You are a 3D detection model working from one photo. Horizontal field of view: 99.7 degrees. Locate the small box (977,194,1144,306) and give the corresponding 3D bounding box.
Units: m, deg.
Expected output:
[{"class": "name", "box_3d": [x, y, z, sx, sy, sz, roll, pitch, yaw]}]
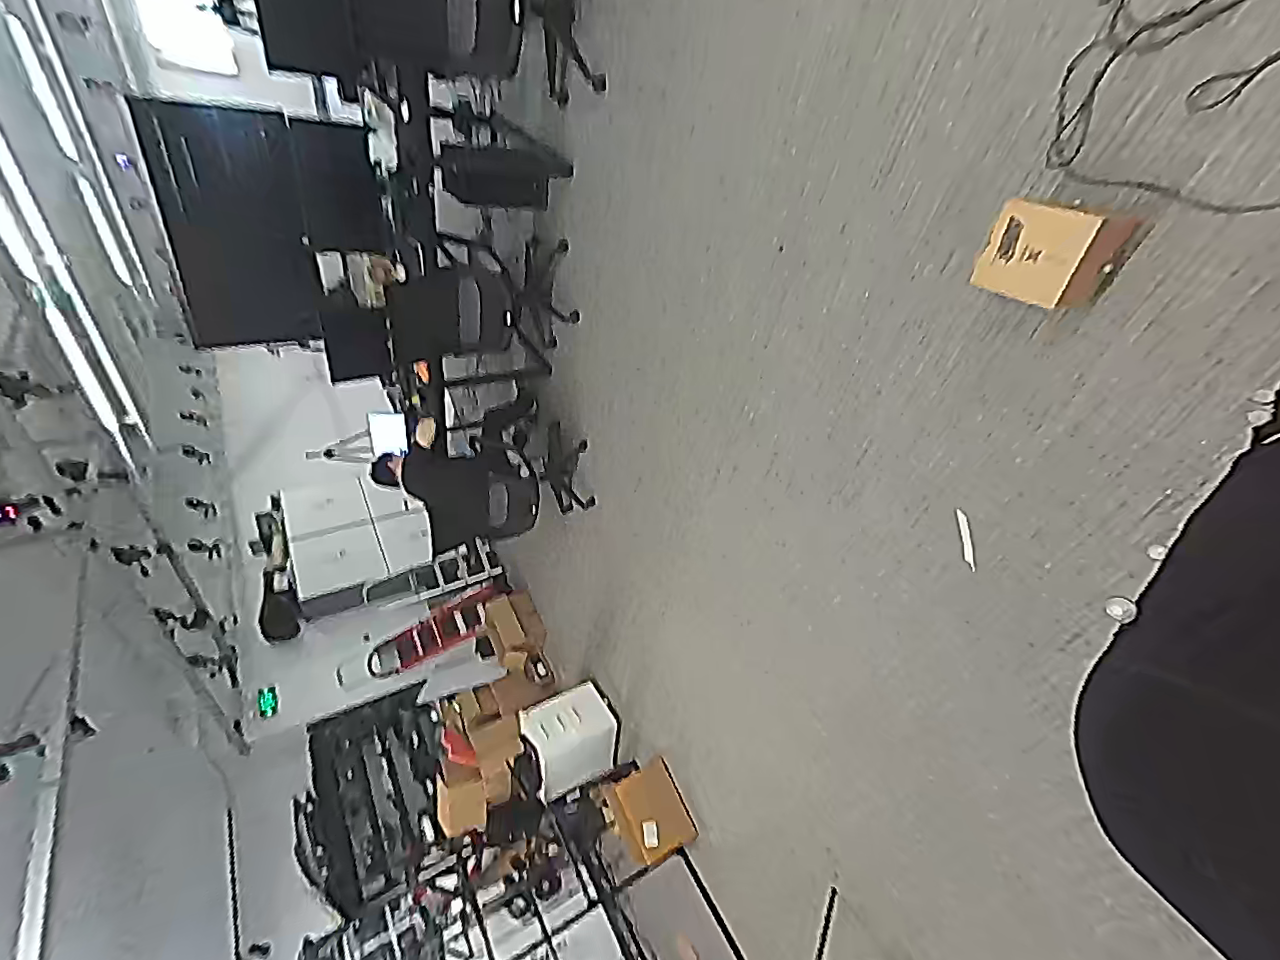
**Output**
[{"class": "small box", "box_3d": [0.830, -0.459, 1.075, 0.179, 0.176, 0.168, 46, 140, 41]}]
